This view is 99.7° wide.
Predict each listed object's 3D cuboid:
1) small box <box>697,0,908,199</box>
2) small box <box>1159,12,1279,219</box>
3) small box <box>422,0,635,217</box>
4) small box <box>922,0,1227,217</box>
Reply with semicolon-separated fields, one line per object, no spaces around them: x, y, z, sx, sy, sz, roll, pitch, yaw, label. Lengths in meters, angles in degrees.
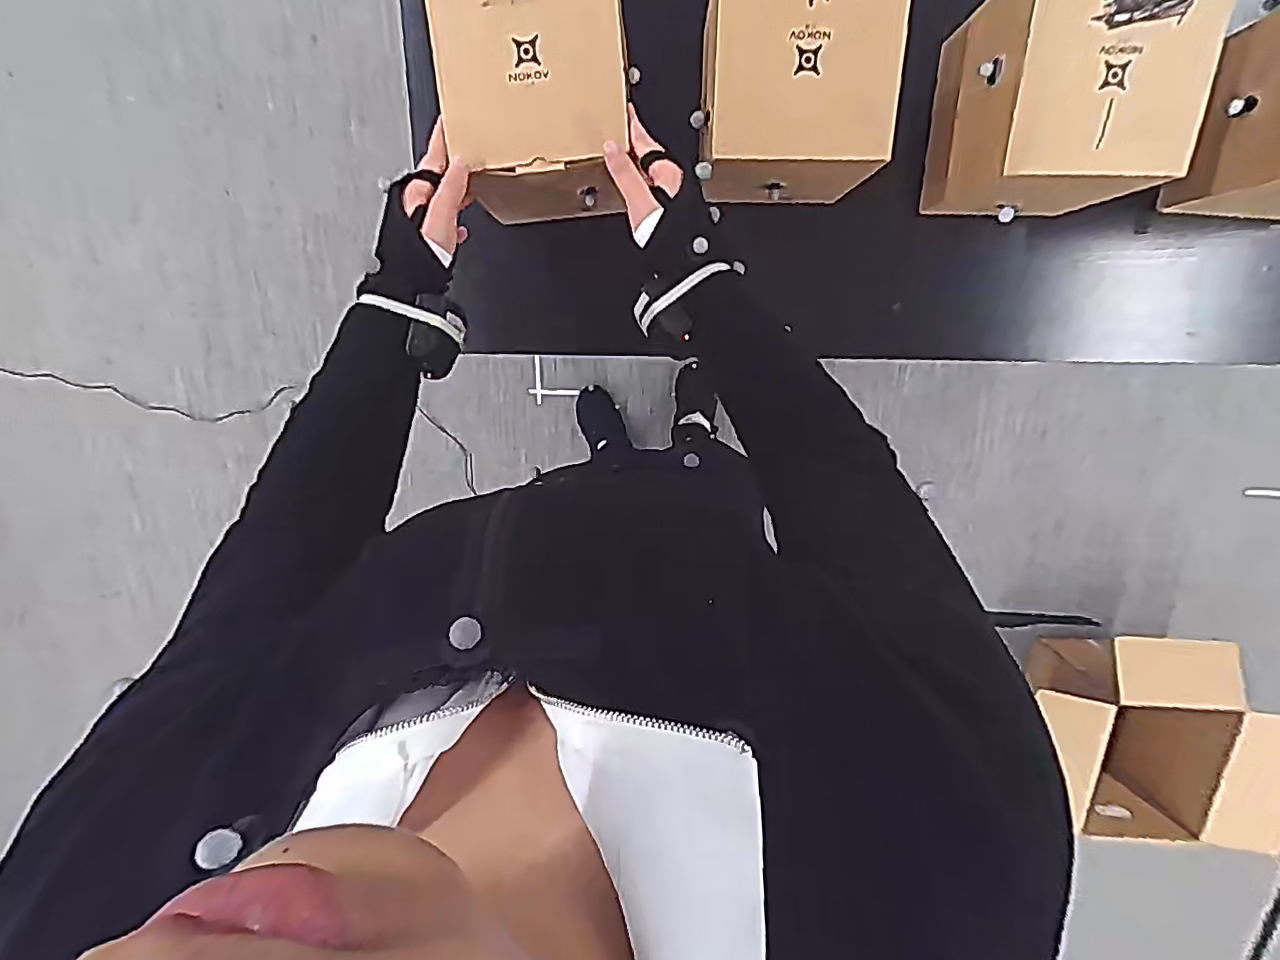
0.149;-0.398;0.551;0.168;0.176;0.179;2;105;1;small box
0.695;-0.371;0.543;0.179;0.176;0.168;4;105;2;small box
-0.095;-0.377;0.539;0.168;0.176;0.179;-5;100;3;small box
0.414;-0.382;0.548;0.168;0.176;0.179;2;106;1;small box
